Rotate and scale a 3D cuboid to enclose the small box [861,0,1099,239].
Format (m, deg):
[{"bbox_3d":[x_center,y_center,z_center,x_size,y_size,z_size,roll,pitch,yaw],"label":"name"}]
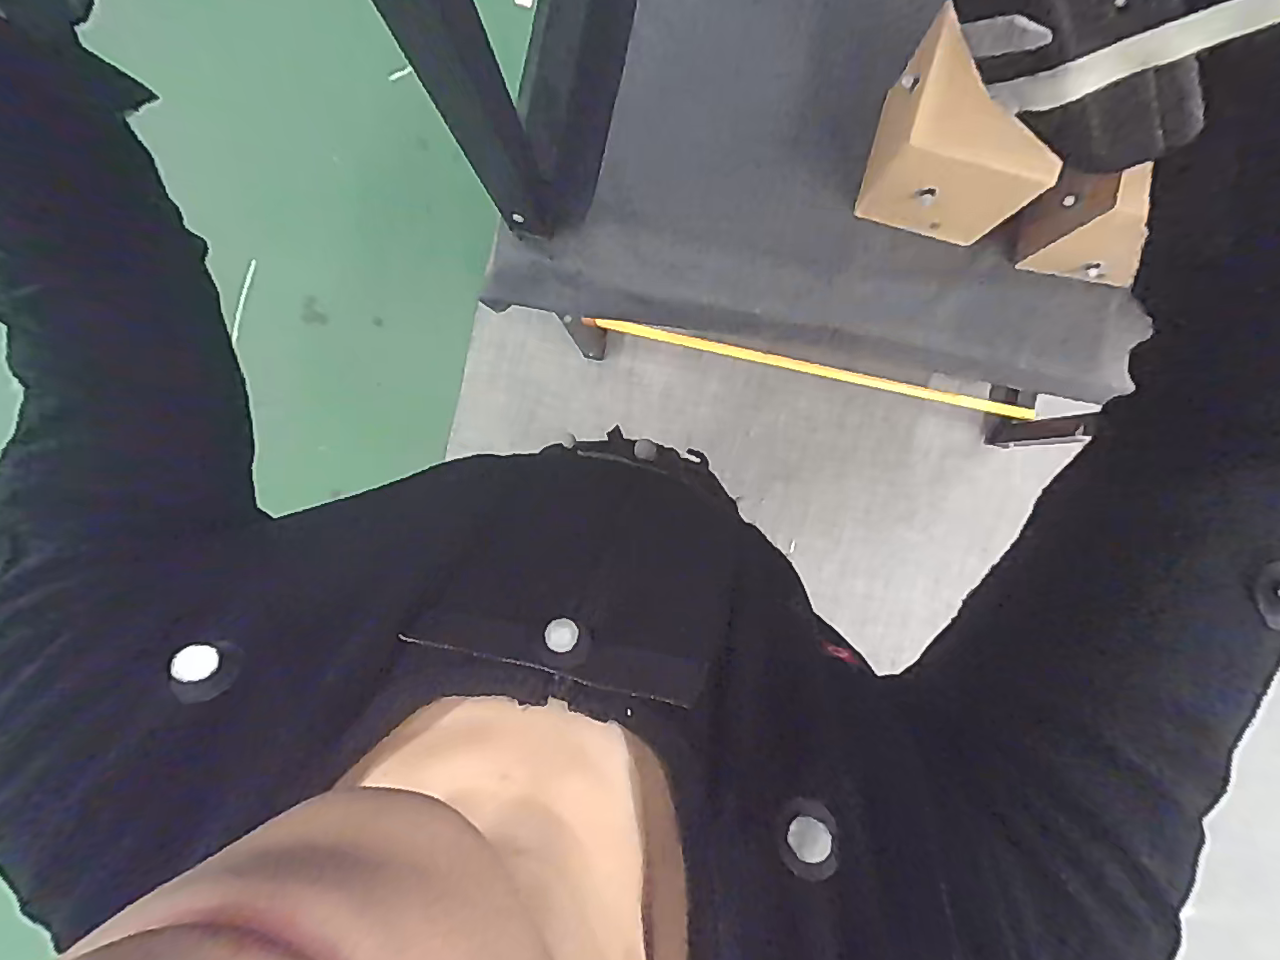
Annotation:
[{"bbox_3d":[0.395,-0.427,0.665,0.168,0.176,0.179,16,91,1],"label":"small box"}]
